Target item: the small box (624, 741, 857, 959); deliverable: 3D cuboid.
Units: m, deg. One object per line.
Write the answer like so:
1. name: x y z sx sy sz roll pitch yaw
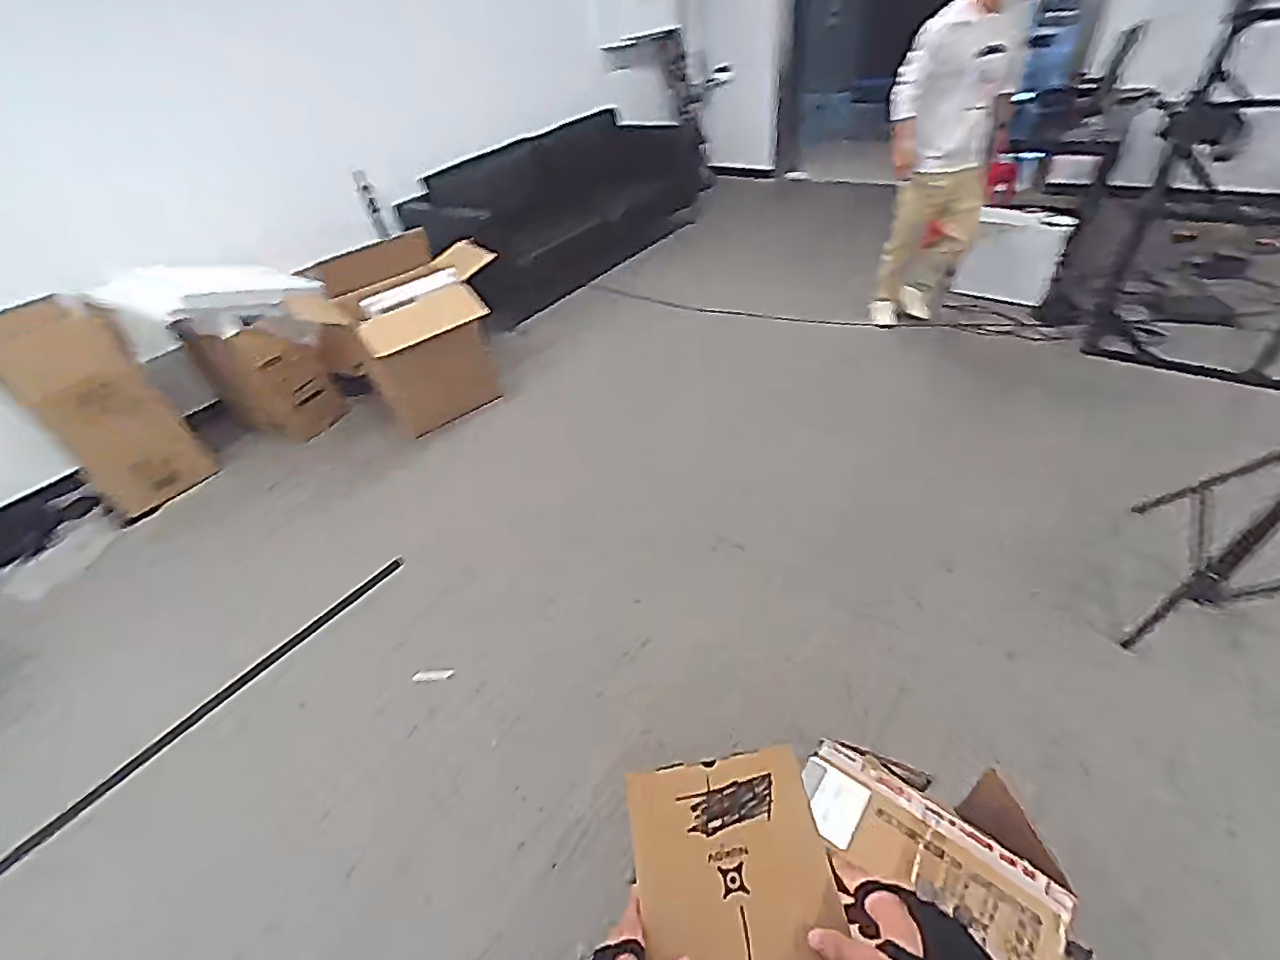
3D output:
1. small box: 0.082 0.383 0.525 0.168 0.176 0.179 -10 48 -3
